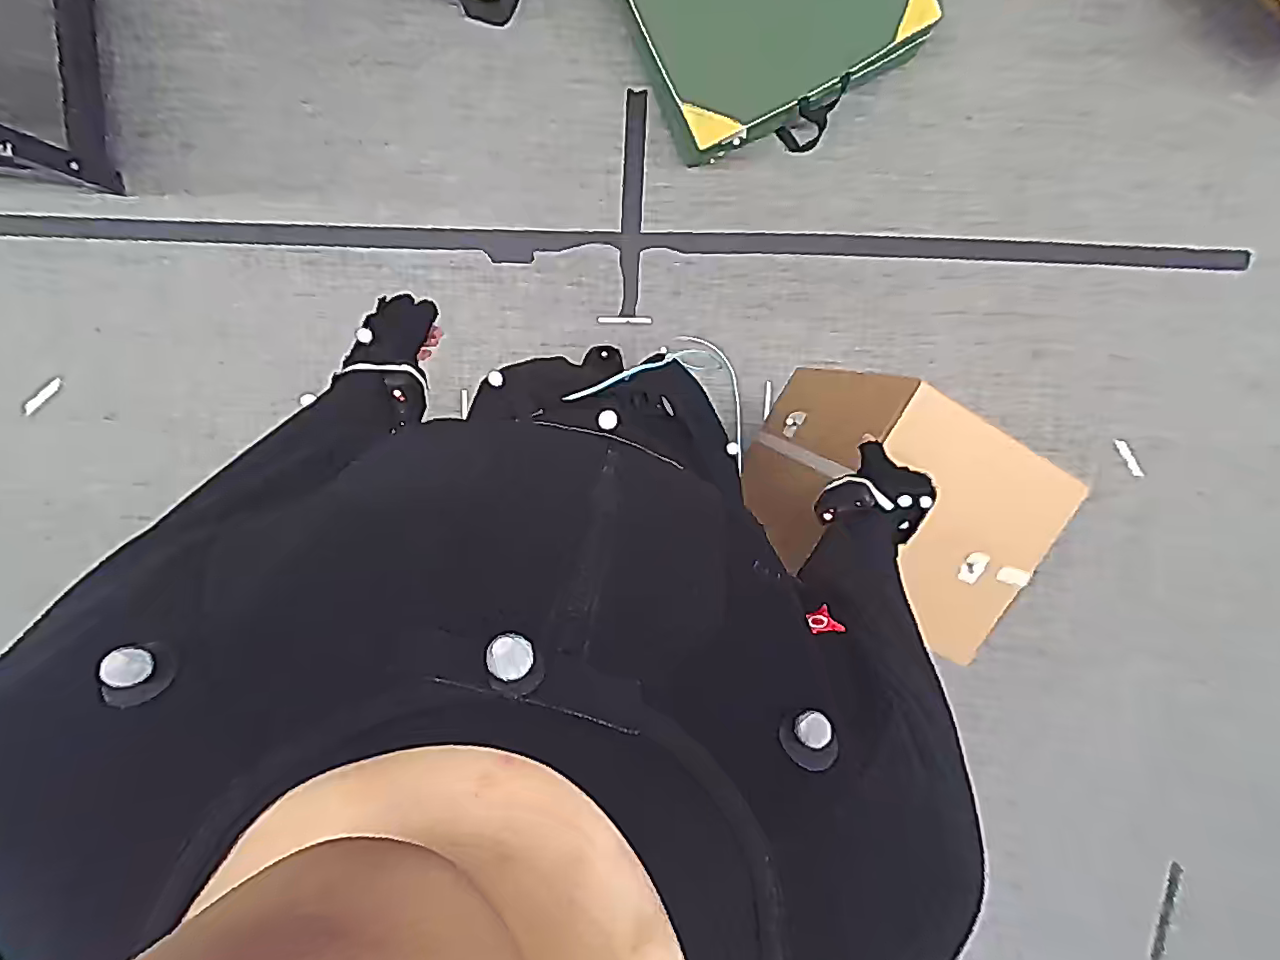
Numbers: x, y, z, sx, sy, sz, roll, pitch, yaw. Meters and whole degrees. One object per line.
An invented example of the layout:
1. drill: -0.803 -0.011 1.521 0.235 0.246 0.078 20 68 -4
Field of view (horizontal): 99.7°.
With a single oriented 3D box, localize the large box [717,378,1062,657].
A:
1. large box: 0.386 0.035 0.949 0.320 0.408 0.320 29 98 -12
